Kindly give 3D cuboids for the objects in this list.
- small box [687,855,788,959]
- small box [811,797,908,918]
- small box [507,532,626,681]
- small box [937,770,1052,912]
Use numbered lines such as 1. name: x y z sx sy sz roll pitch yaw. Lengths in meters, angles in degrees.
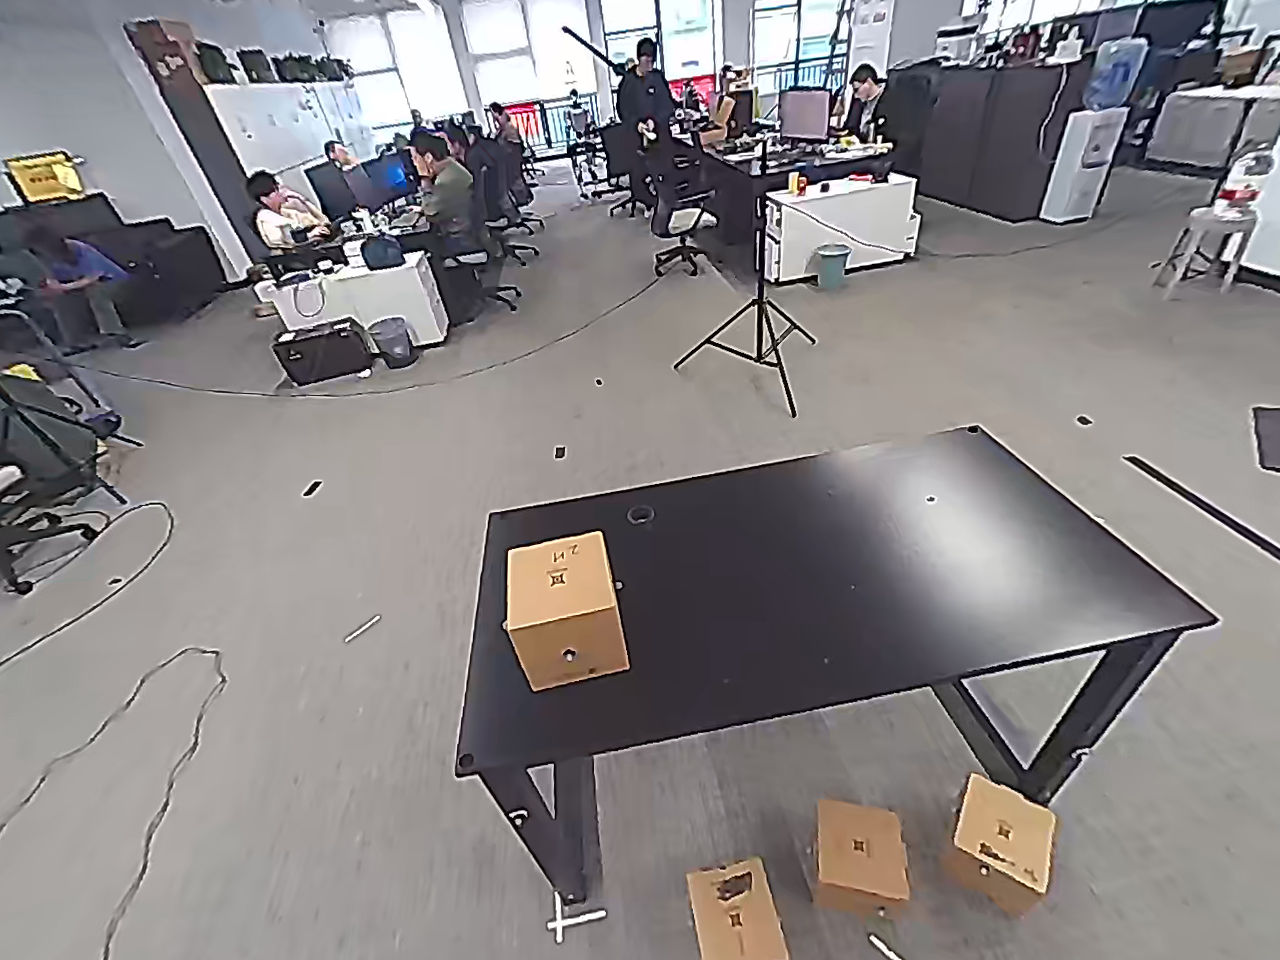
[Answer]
1. small box: 0.199 0.934 1.140 0.168 0.176 0.179 -11 39 -3
2. small box: 0.478 0.842 1.205 0.179 0.176 0.168 1 38 15
3. small box: -0.124 0.220 0.923 0.168 0.176 0.179 -12 37 -5
4. small box: 0.778 0.797 1.197 0.168 0.176 0.179 19 46 31
